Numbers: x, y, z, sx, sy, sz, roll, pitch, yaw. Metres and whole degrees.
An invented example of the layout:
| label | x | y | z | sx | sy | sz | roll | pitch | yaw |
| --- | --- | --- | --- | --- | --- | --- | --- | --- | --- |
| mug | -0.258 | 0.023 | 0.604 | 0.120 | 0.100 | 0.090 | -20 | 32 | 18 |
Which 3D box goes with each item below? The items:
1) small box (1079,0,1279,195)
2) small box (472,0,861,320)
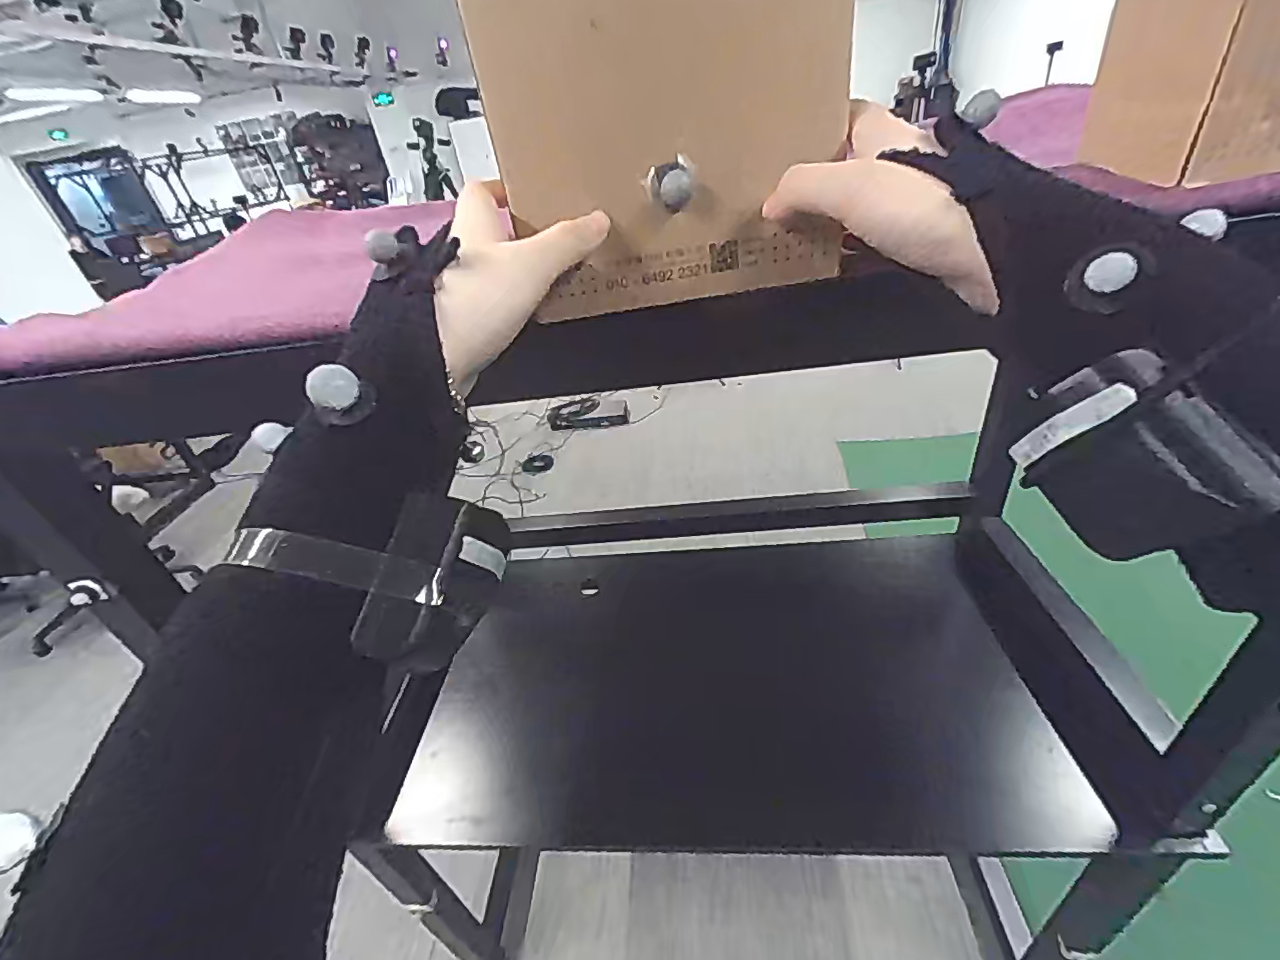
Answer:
| label | x | y | z | sx | sy | sz | roll | pitch | yaw |
| --- | --- | --- | --- | --- | --- | --- | --- | --- | --- |
| small box | 0.415 | -0.285 | 0.331 | 0.168 | 0.176 | 0.179 | 1 | 37 | 16 |
| small box | 0.013 | -0.206 | 0.316 | 0.168 | 0.176 | 0.179 | -9 | 34 | 3 |
